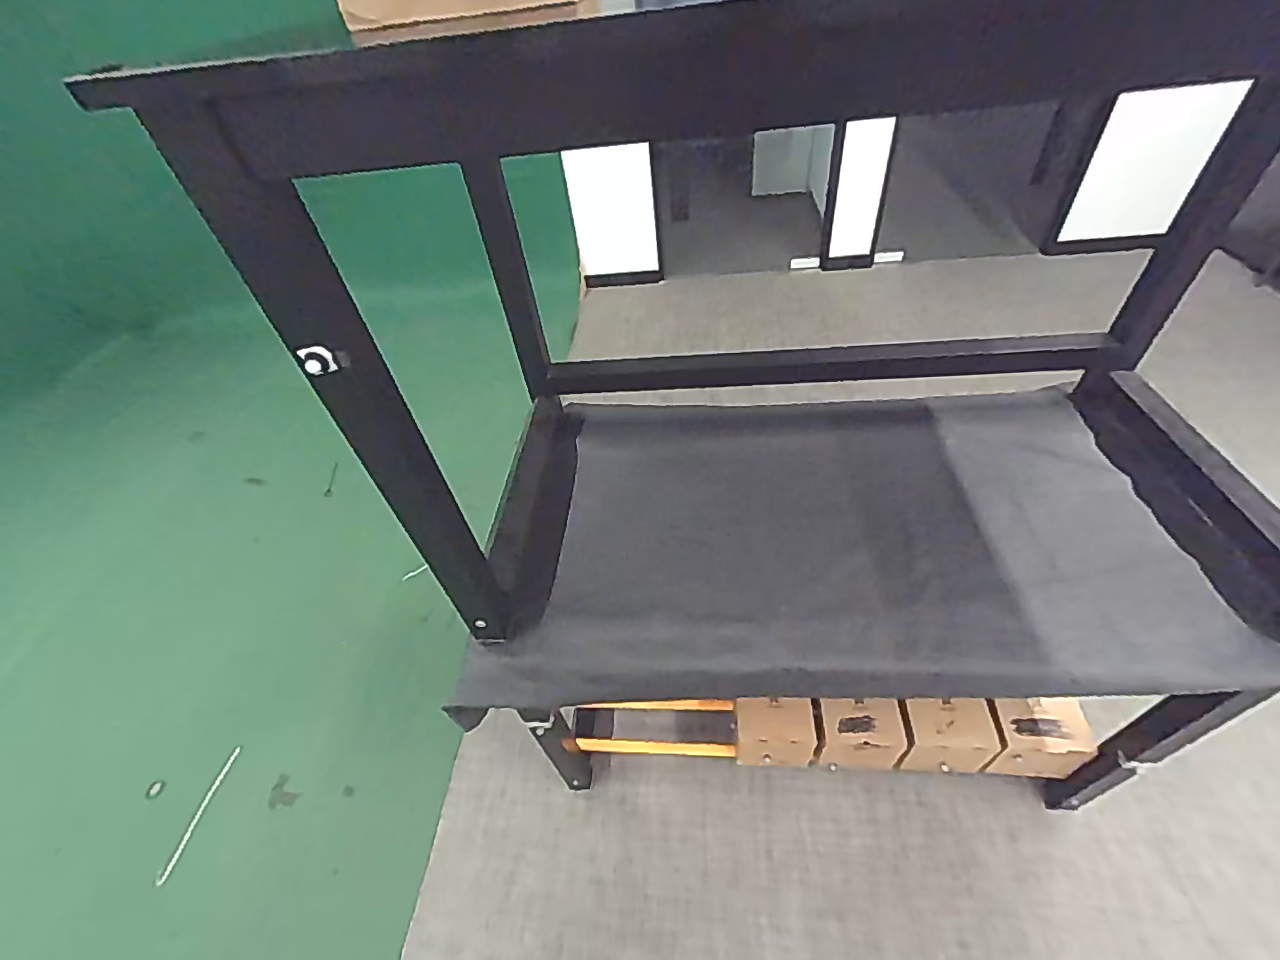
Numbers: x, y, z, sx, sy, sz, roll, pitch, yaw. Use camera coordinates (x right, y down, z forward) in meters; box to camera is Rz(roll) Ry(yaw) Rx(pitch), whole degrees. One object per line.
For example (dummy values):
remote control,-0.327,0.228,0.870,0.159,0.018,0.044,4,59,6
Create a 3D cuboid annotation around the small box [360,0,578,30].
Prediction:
small box,-0.129,-0.442,0.383,0.168,0.176,0.179,-5,45,5
